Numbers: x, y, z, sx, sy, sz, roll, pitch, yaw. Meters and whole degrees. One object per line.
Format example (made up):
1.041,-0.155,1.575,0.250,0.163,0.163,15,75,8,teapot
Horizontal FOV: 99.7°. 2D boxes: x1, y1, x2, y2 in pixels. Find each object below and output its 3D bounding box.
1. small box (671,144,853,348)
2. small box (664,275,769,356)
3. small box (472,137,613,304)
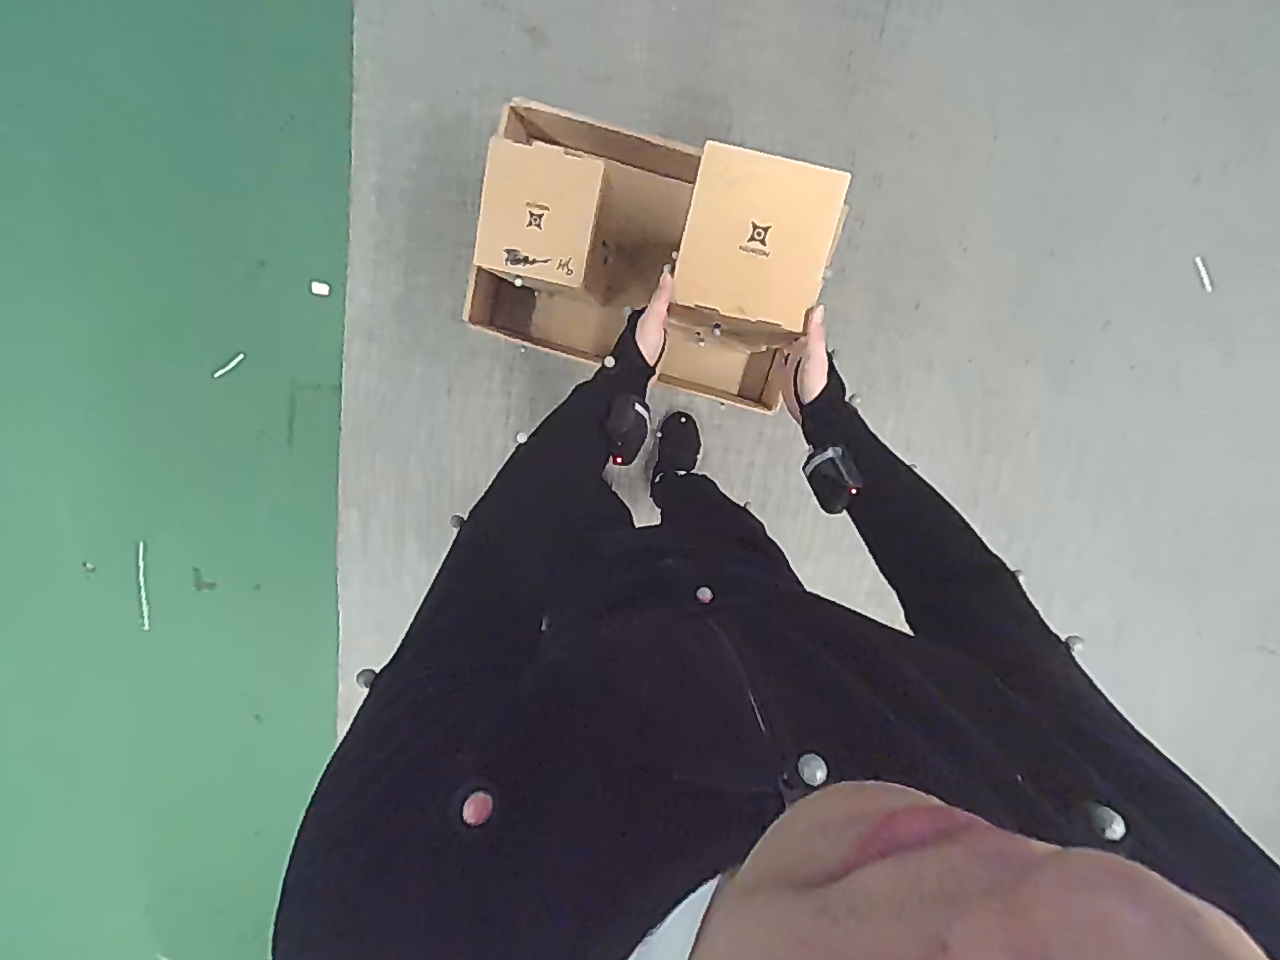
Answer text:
0.135,-0.273,0.673,0.168,0.176,0.179,13,99,0,small box
0.140,-0.305,0.848,0.168,0.176,0.179,19,103,-1,small box
-0.141,-0.388,0.840,0.168,0.176,0.179,14,102,1,small box
